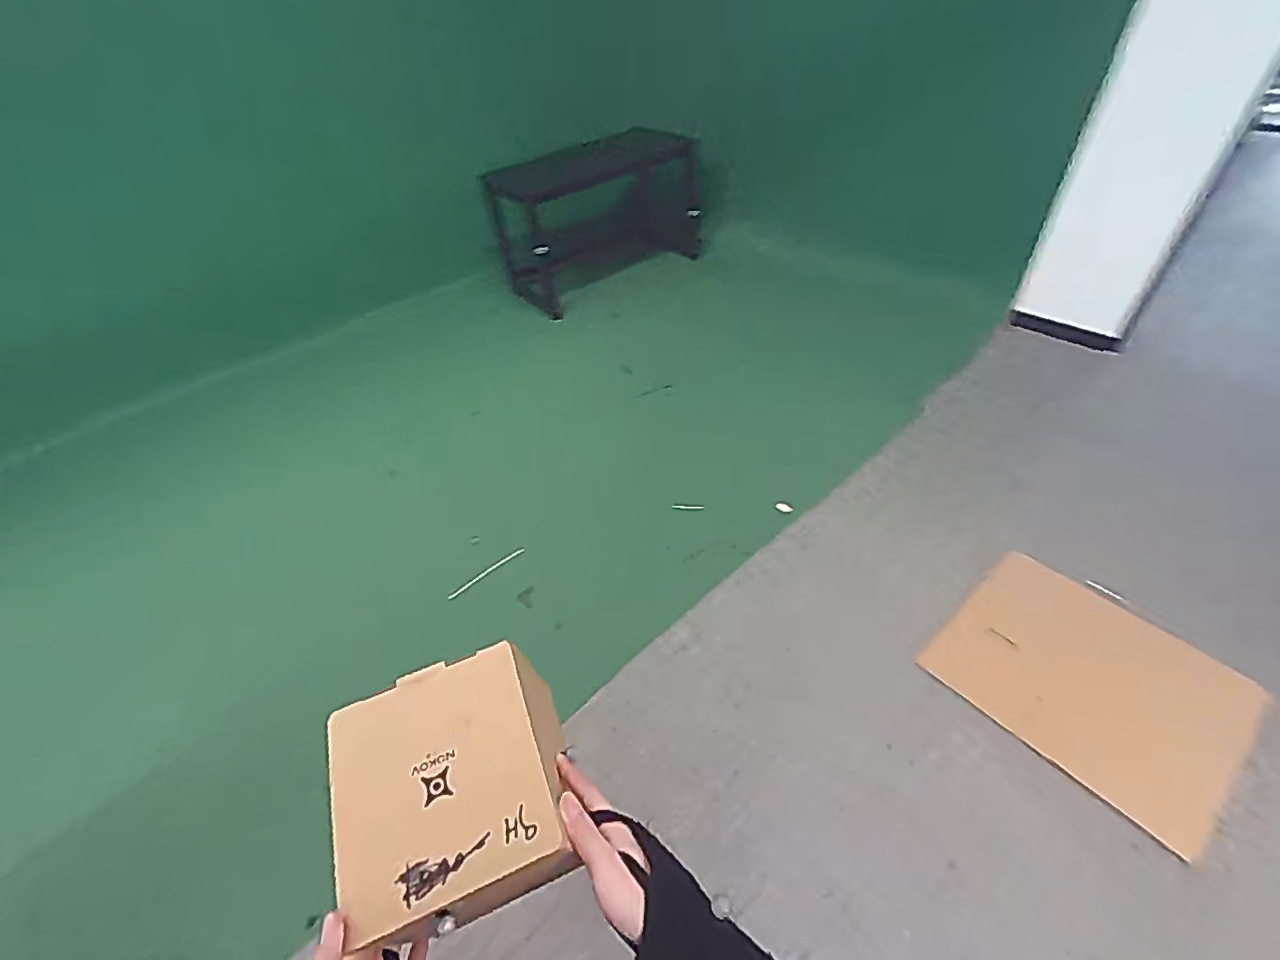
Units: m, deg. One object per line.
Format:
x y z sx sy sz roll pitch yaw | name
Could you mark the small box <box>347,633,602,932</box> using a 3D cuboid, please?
-0.145 0.277 0.499 0.168 0.176 0.179 -20 53 -8 | small box
